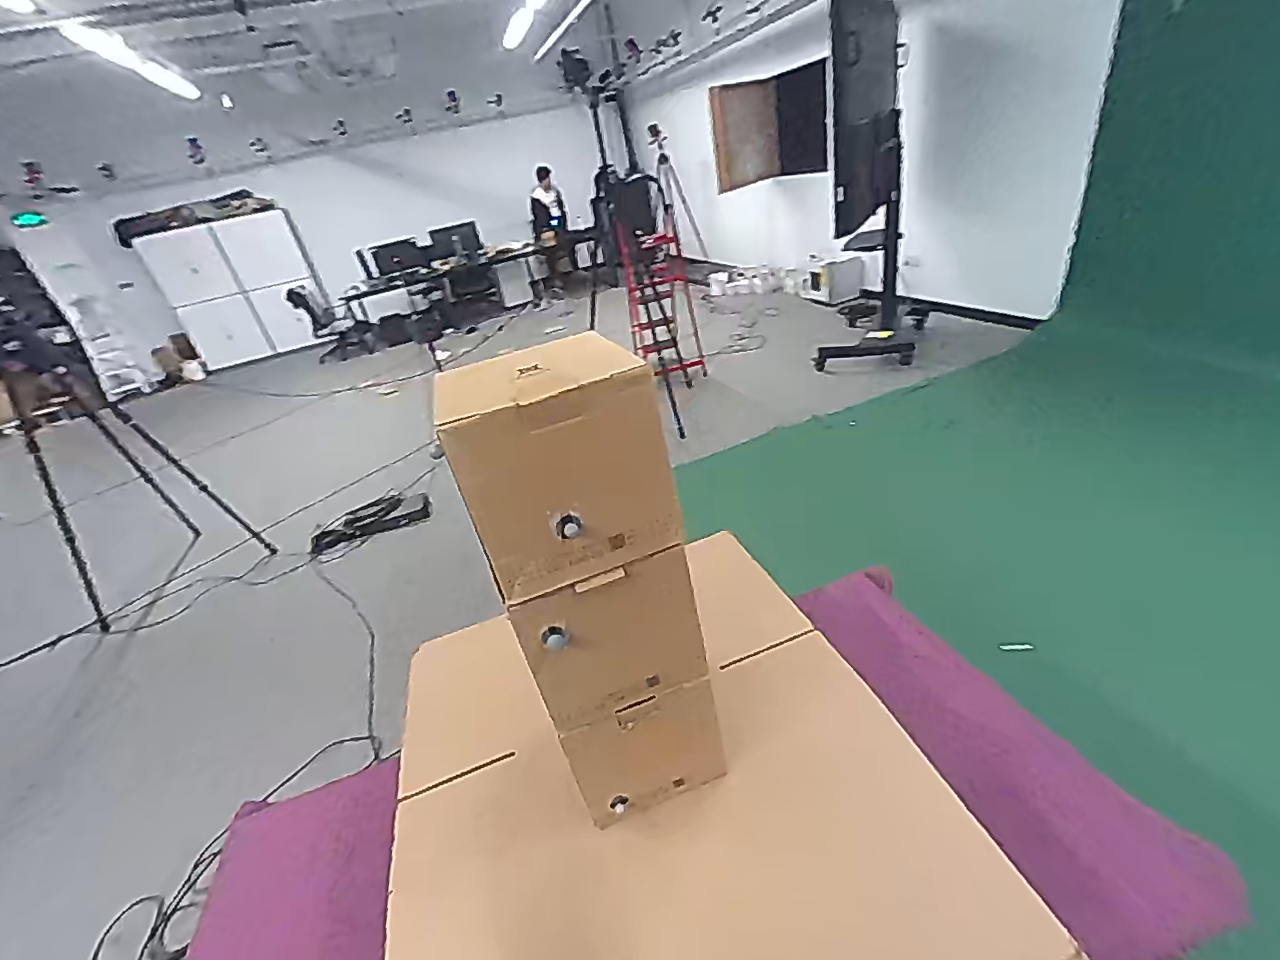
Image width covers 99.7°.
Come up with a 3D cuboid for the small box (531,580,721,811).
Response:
[{"bbox_3d":[-0.016,0.259,0.652,0.168,0.176,0.179,-20,31,-13],"label":"small box"}]

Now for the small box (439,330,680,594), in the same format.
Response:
[{"bbox_3d":[-0.077,-0.026,0.501,0.168,0.176,0.179,-19,29,-13],"label":"small box"}]
